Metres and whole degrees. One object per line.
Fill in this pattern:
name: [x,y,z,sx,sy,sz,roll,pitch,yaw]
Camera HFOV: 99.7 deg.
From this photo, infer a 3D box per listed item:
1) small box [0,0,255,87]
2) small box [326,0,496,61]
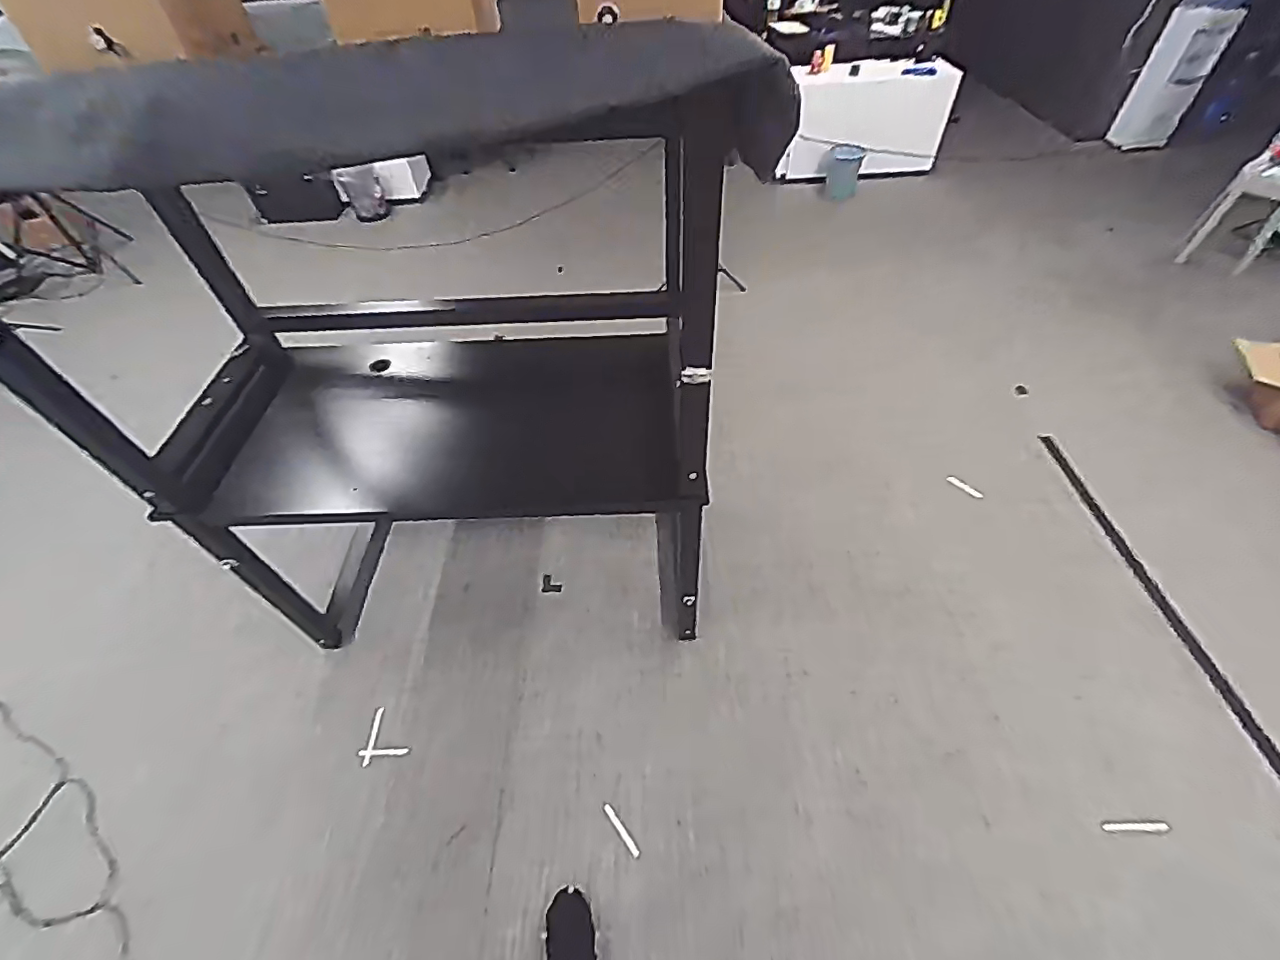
small box: [-0.599,-0.576,0.623,0.179,0.176,0.168,-3,48,0]
small box: [-0.277,-0.614,0.637,0.168,0.176,0.179,-4,48,0]
